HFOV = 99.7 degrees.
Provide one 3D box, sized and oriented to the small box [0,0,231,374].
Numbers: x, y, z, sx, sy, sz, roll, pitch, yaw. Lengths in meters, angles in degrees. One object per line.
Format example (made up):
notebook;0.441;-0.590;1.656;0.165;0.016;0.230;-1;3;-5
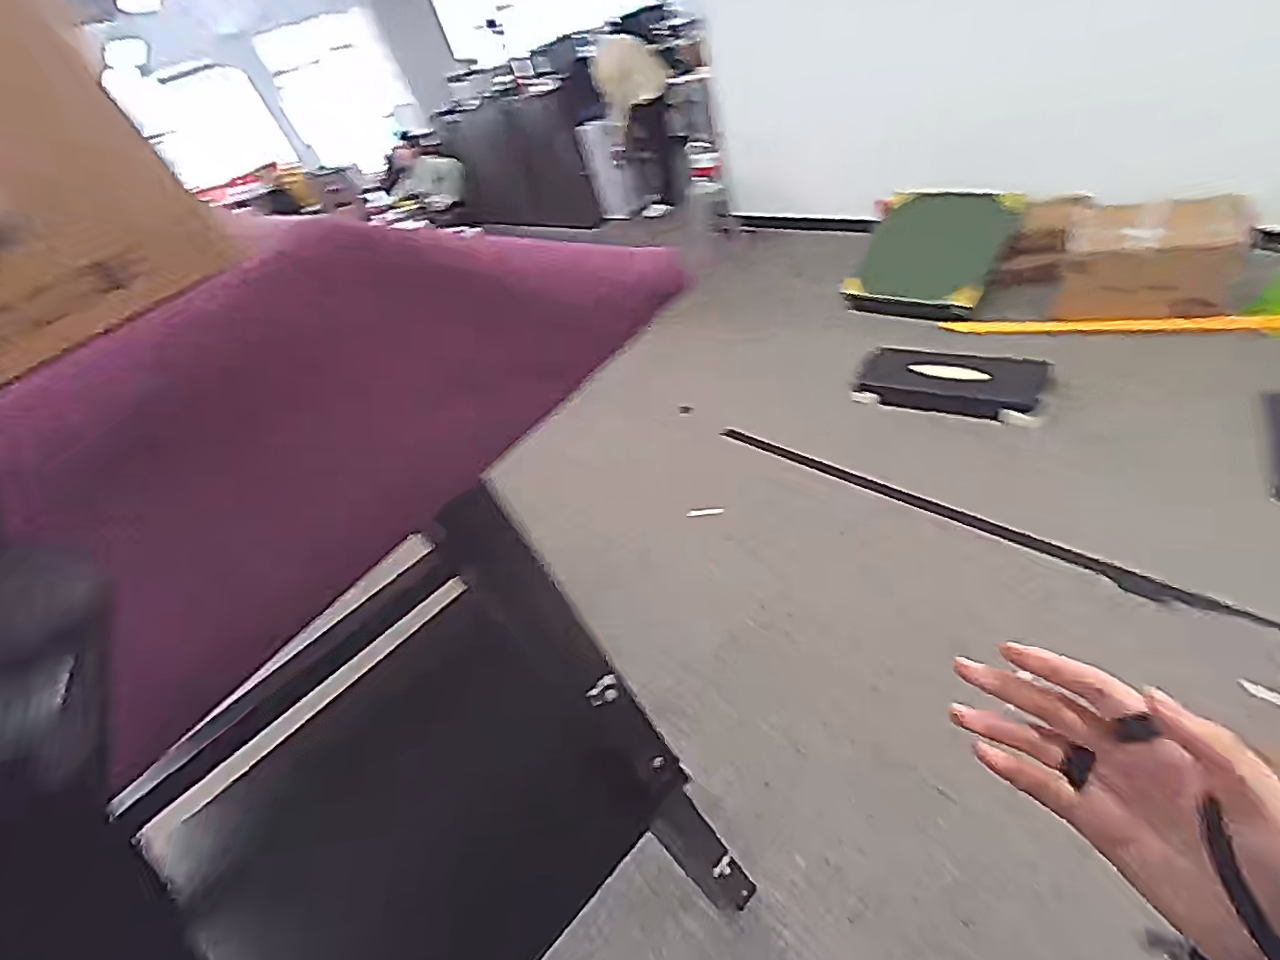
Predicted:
small box;-0.352;-0.148;0.260;0.179;0.176;0.168;19;56;39

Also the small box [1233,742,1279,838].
small box;1.272;0.592;0.994;0.168;0.176;0.179;-37;44;-18
